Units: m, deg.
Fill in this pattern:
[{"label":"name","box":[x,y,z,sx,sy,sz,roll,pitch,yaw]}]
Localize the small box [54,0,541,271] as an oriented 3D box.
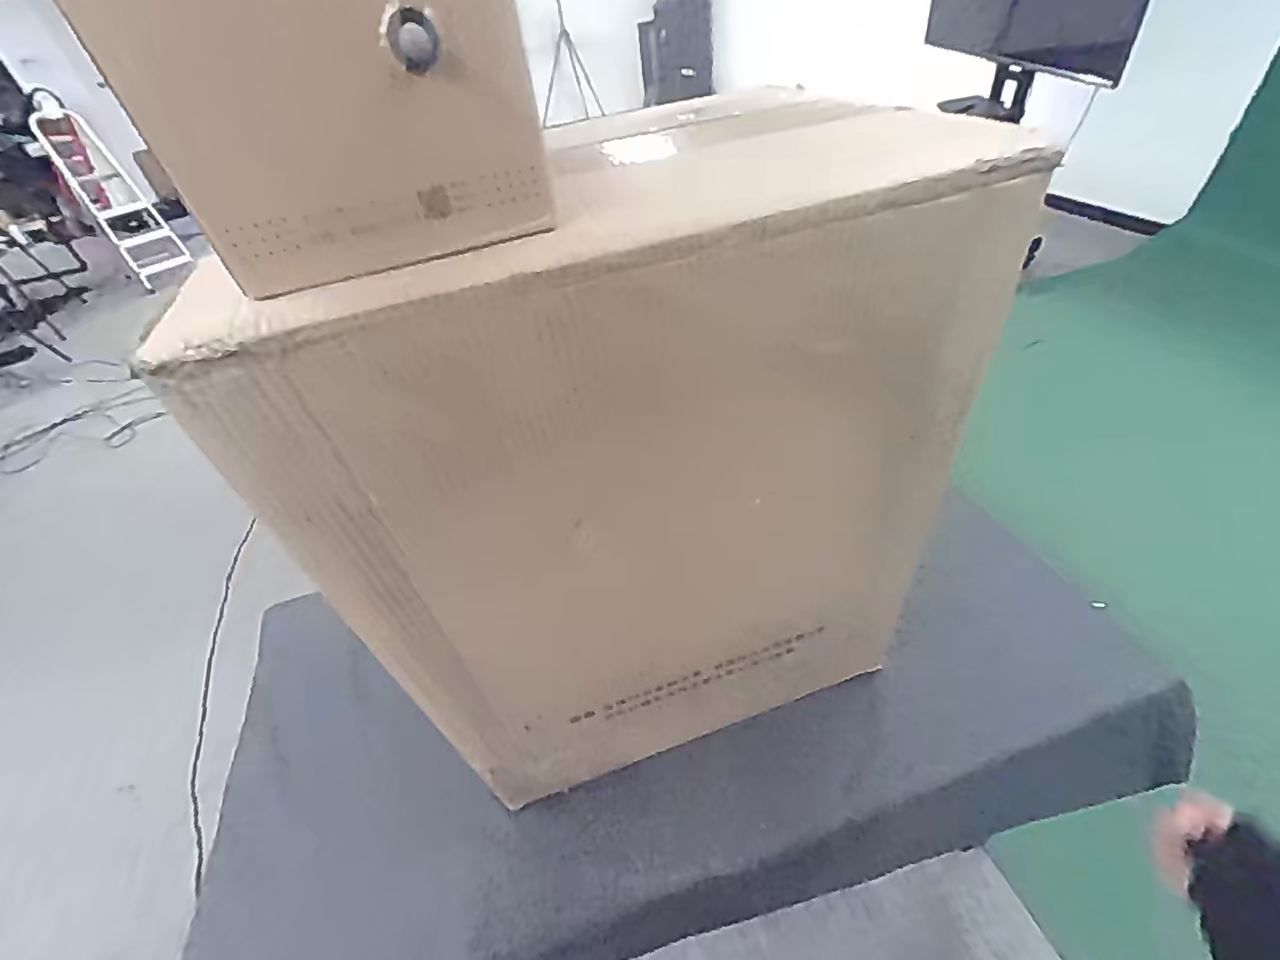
[{"label":"small box","box":[-0.165,-0.231,0.287,0.168,0.176,0.179,-21,47,-12]}]
